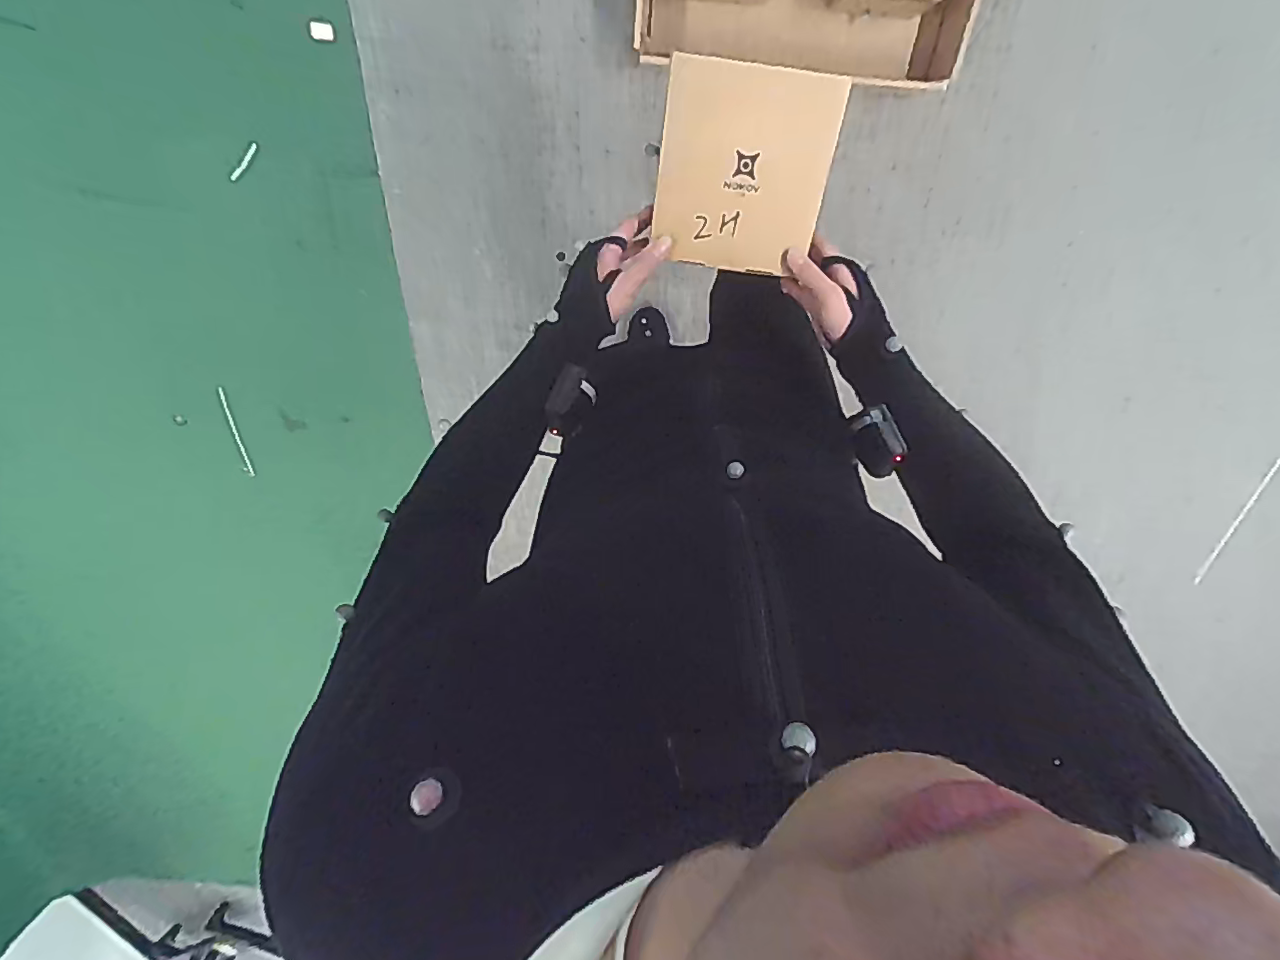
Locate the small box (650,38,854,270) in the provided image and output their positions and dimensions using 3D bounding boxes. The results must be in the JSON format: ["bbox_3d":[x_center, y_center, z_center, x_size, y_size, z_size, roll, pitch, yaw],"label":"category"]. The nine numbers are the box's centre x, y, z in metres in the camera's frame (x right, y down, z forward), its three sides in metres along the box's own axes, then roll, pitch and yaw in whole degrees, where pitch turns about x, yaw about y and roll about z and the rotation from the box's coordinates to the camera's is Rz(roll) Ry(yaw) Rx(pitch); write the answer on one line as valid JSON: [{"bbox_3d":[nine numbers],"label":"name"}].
[{"bbox_3d":[0.102,-0.343,0.587,0.168,0.176,0.179,7,121,-2],"label":"small box"}]
